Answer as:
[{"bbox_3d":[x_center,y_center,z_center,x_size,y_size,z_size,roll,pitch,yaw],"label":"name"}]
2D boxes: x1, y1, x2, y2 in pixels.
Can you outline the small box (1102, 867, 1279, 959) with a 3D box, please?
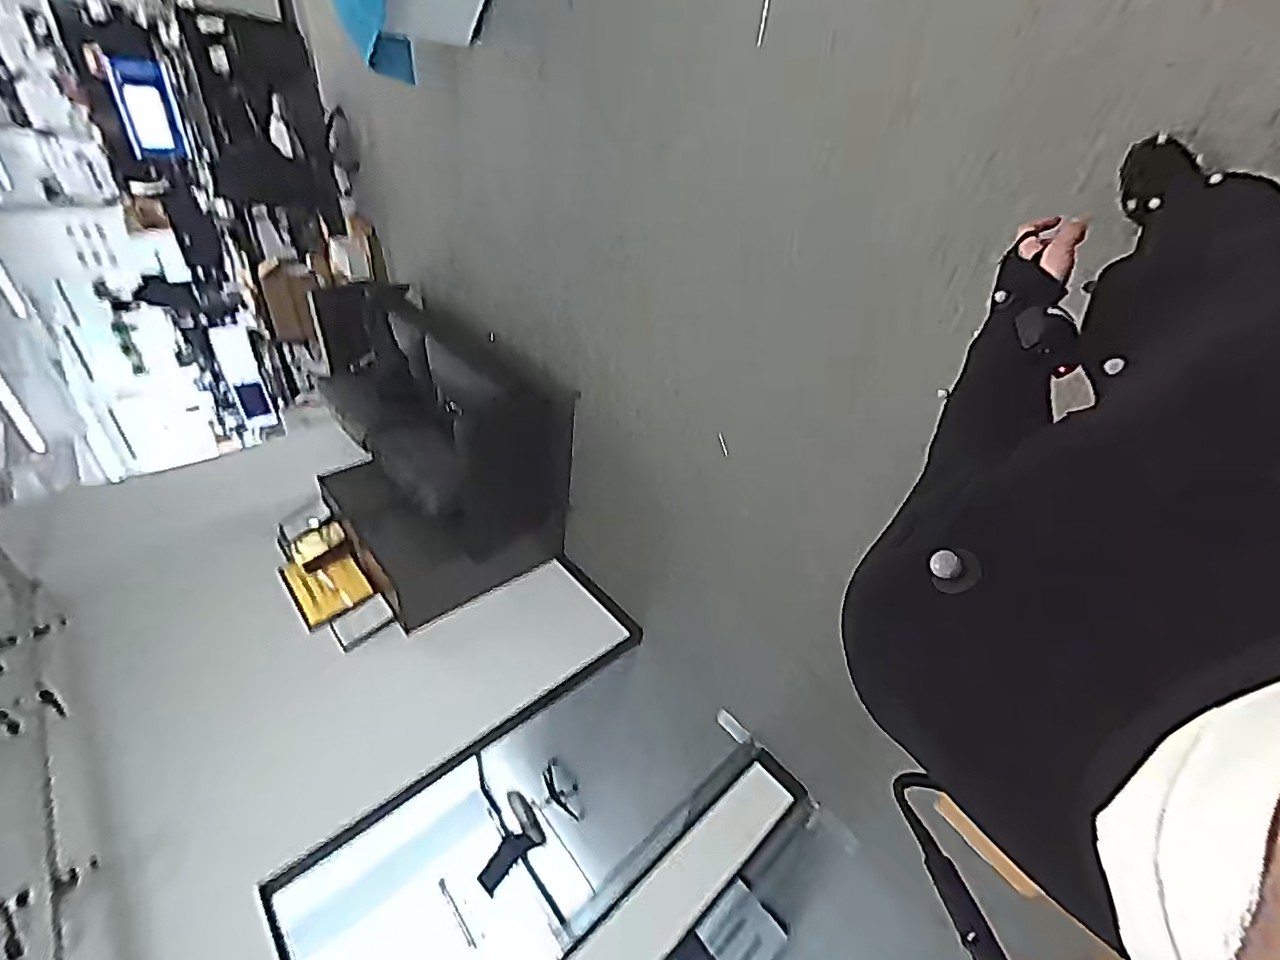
[{"bbox_3d":[0.803,0.690,0.750,0.168,0.176,0.179,41,137,29],"label":"small box"}]
